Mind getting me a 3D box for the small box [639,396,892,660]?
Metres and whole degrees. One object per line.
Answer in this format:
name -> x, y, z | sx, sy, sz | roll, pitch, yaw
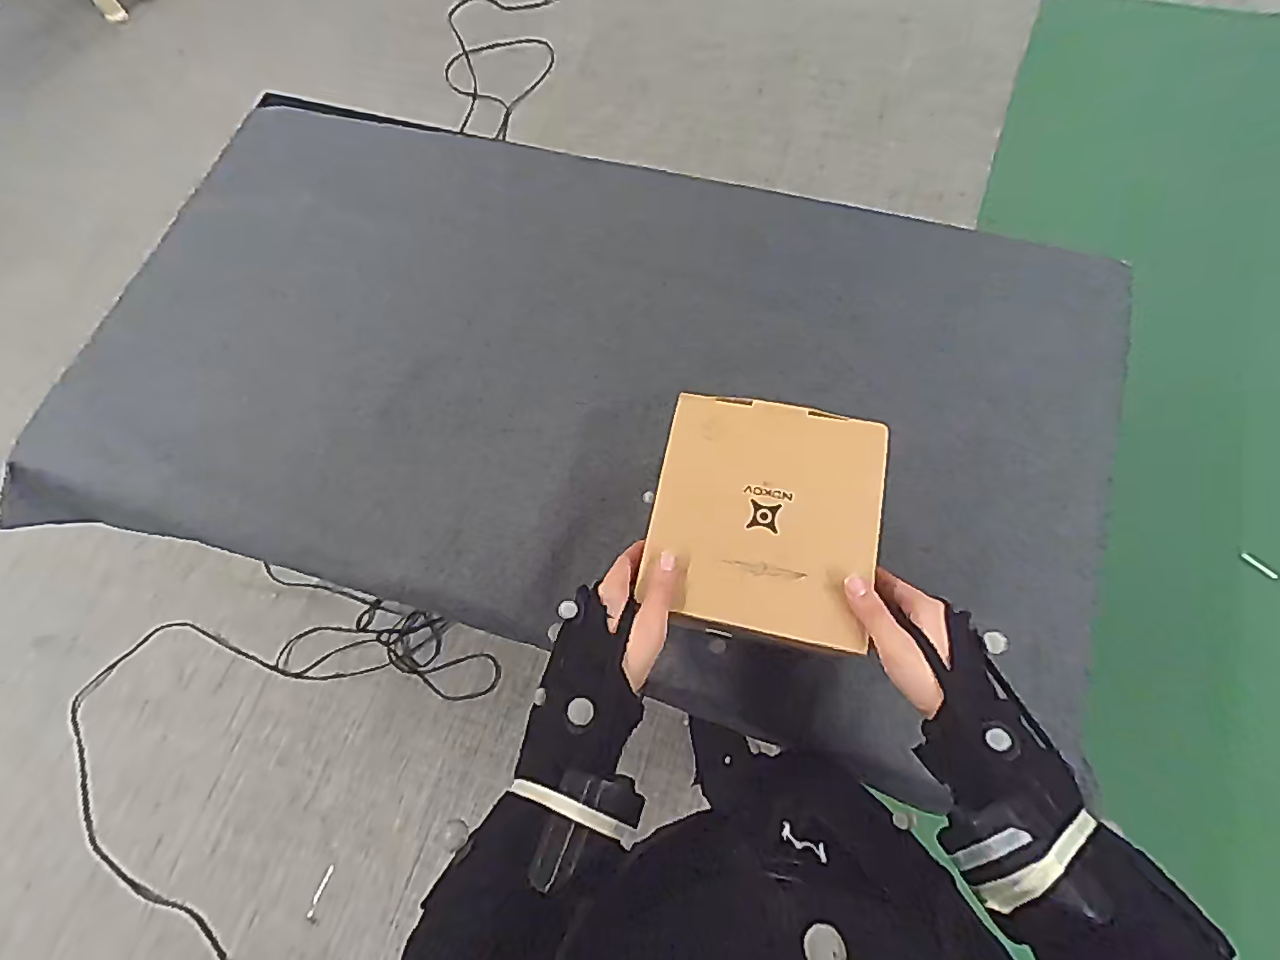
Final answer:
small box -> 0.102, 0.051, 0.474 | 0.168, 0.176, 0.179 | 10, 73, 9
